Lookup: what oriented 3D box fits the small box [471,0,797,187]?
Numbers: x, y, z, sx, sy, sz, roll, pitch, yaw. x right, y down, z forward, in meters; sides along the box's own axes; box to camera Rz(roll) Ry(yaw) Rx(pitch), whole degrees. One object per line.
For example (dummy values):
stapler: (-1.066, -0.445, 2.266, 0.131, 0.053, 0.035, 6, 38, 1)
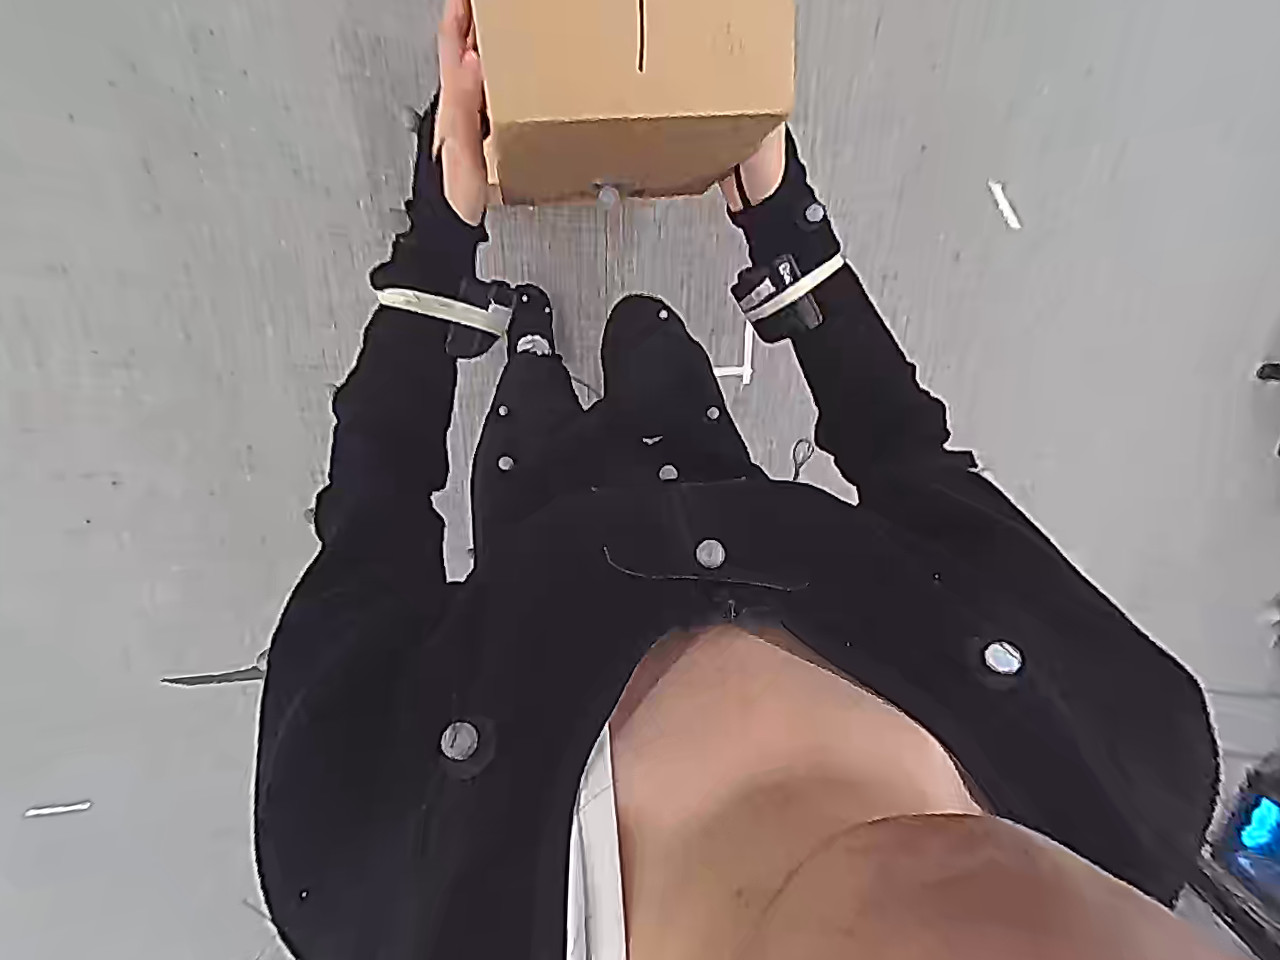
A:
small box: (-0.019, -0.299, 0.330, 0.168, 0.176, 0.179, -8, 107, -9)
